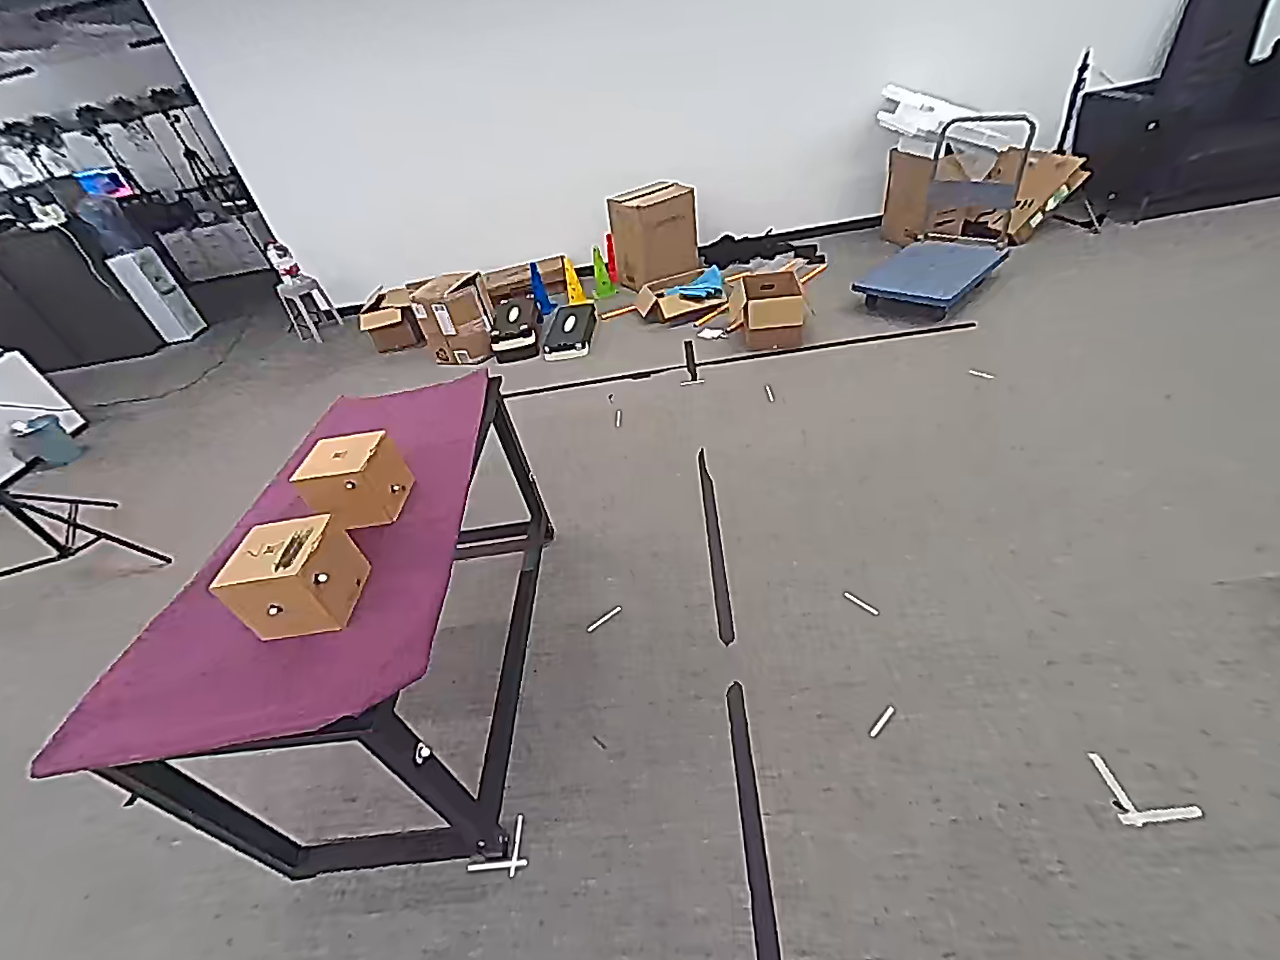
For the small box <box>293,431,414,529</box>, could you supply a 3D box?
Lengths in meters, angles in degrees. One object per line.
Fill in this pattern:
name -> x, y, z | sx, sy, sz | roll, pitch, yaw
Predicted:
small box -> -0.692, 0.005, 1.328 | 0.179, 0.176, 0.168 | -8, 39, 5
